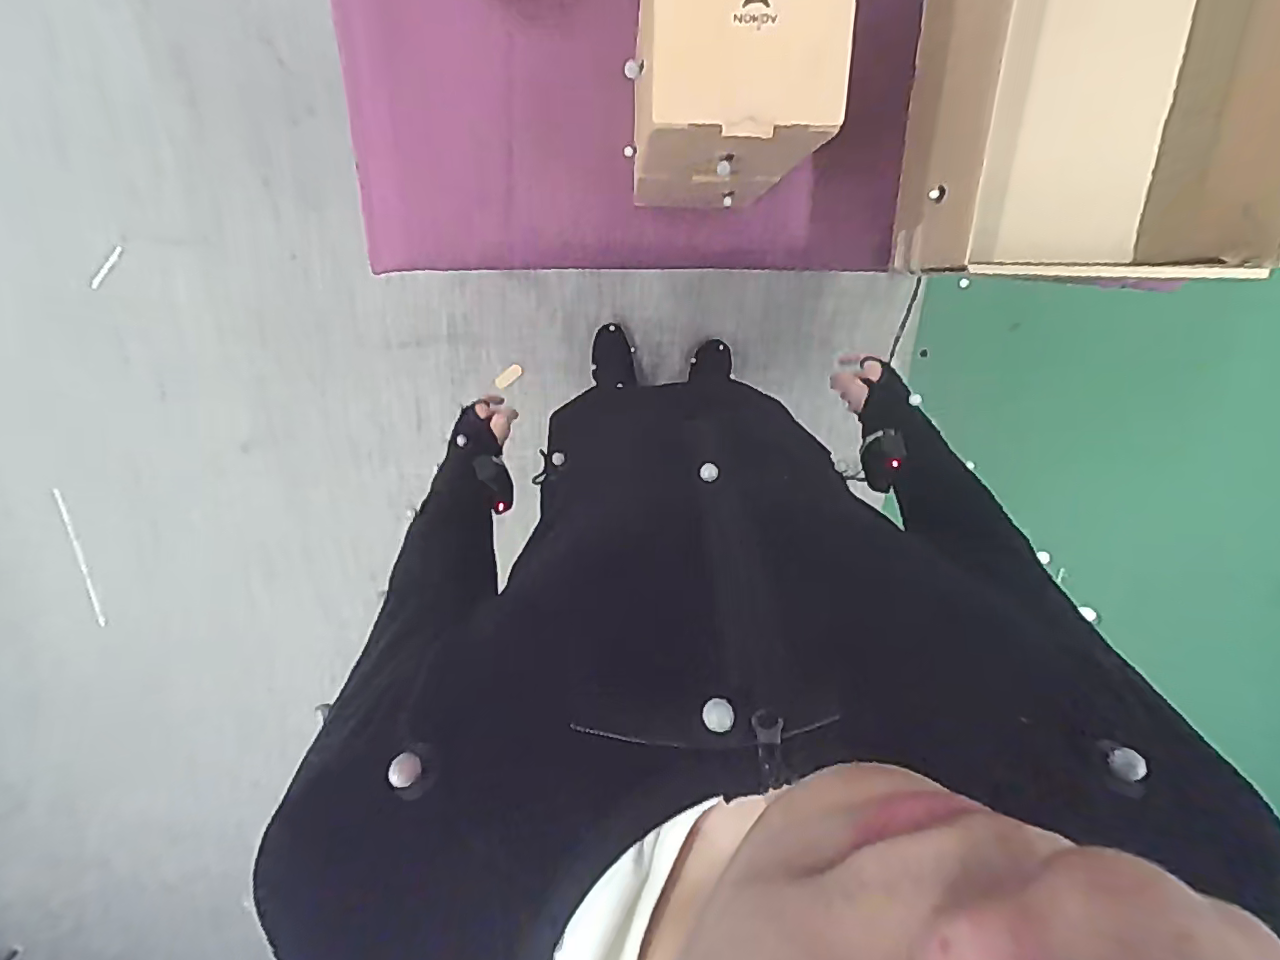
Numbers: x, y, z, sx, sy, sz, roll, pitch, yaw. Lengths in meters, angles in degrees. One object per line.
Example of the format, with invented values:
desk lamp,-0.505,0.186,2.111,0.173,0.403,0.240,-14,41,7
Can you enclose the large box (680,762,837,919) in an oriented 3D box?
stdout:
large box,0.402,1.302,1.916,0.408,0.320,0.320,-31,107,6

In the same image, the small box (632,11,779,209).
small box,0.077,-0.445,0.670,0.168,0.176,0.179,0,106,-3

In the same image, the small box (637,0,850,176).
small box,0.085,-0.402,0.512,0.168,0.176,0.179,-1,107,-3
